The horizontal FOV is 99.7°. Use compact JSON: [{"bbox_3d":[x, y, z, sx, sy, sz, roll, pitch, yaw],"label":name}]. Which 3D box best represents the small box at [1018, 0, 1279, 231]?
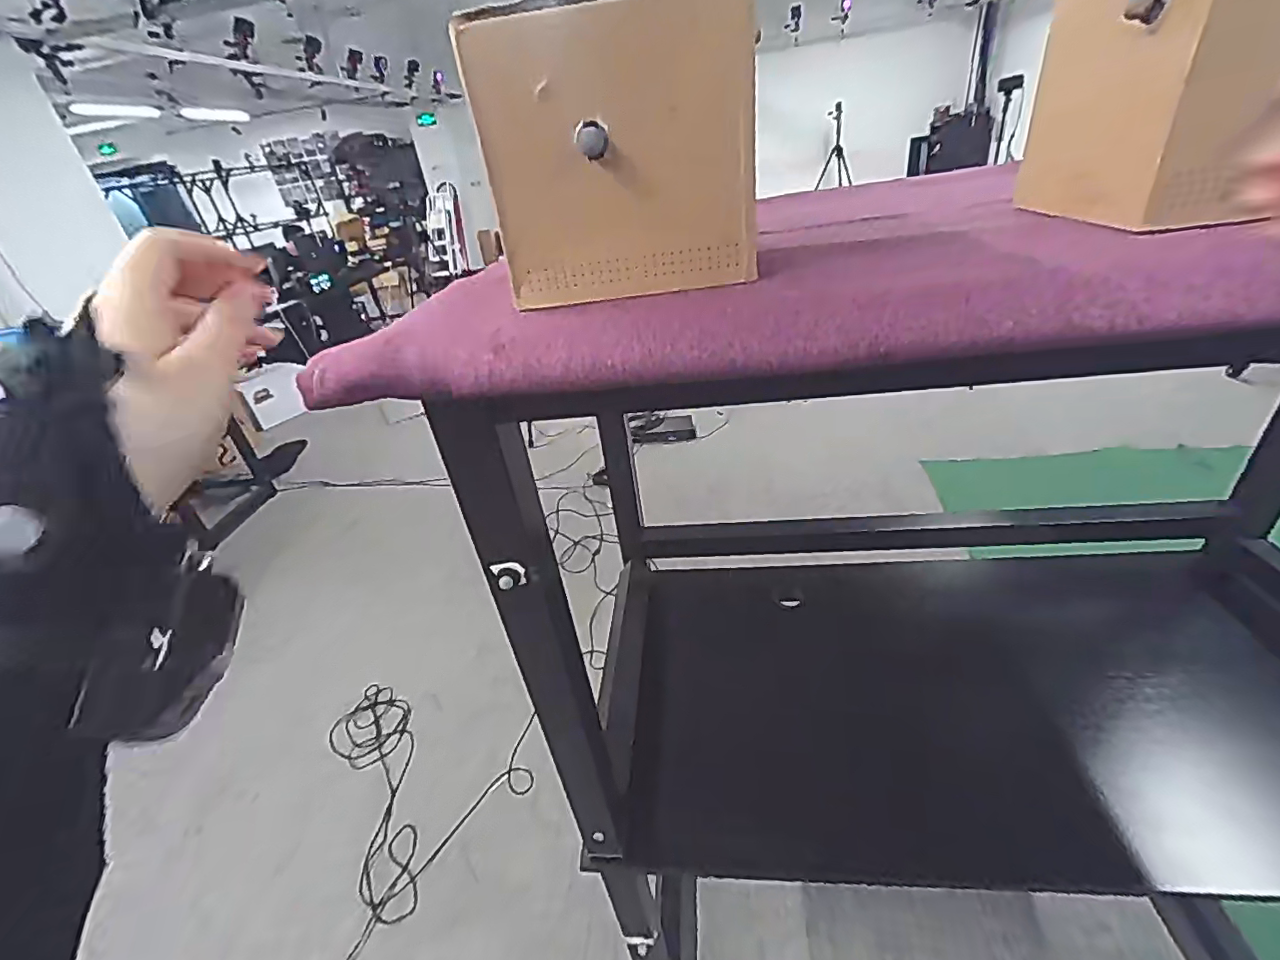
[{"bbox_3d":[0.405,-0.277,0.375,0.168,0.176,0.179,-2,31,9],"label":"small box"}]

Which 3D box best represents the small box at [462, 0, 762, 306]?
[{"bbox_3d":[-0.008,-0.243,0.417,0.179,0.176,0.168,-6,33,4],"label":"small box"}]
